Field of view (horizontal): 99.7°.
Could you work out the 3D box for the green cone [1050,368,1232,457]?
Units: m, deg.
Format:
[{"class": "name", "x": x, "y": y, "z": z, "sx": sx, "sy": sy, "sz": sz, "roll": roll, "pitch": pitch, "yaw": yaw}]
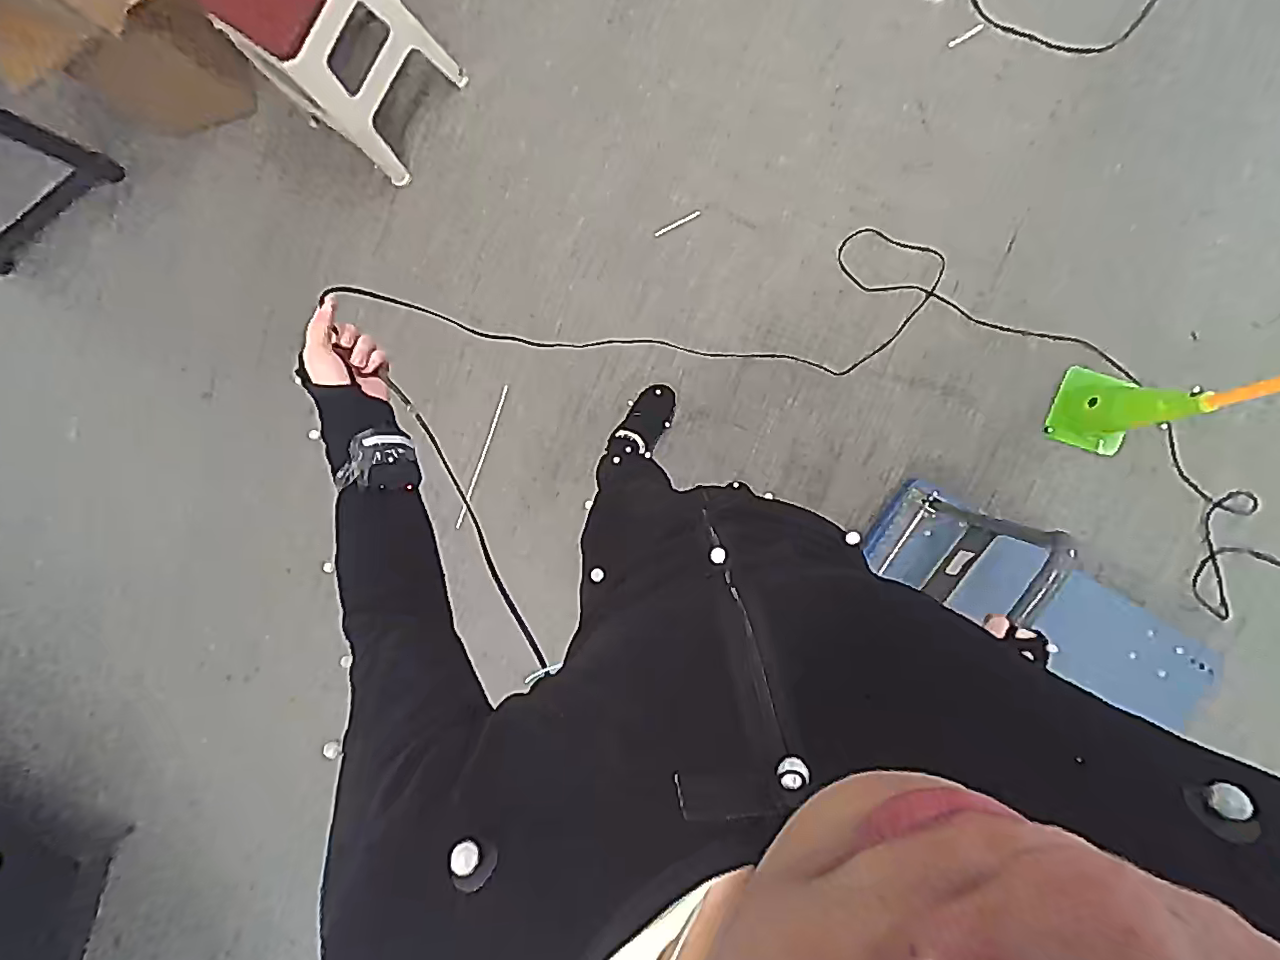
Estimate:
[{"class": "green cone", "x": 1.208, "y": -0.171, "z": 1.277, "sx": 0.200, "sy": 0.368, "sz": 0.202, "roll": 19, "pitch": 95, "yaw": 5}]
